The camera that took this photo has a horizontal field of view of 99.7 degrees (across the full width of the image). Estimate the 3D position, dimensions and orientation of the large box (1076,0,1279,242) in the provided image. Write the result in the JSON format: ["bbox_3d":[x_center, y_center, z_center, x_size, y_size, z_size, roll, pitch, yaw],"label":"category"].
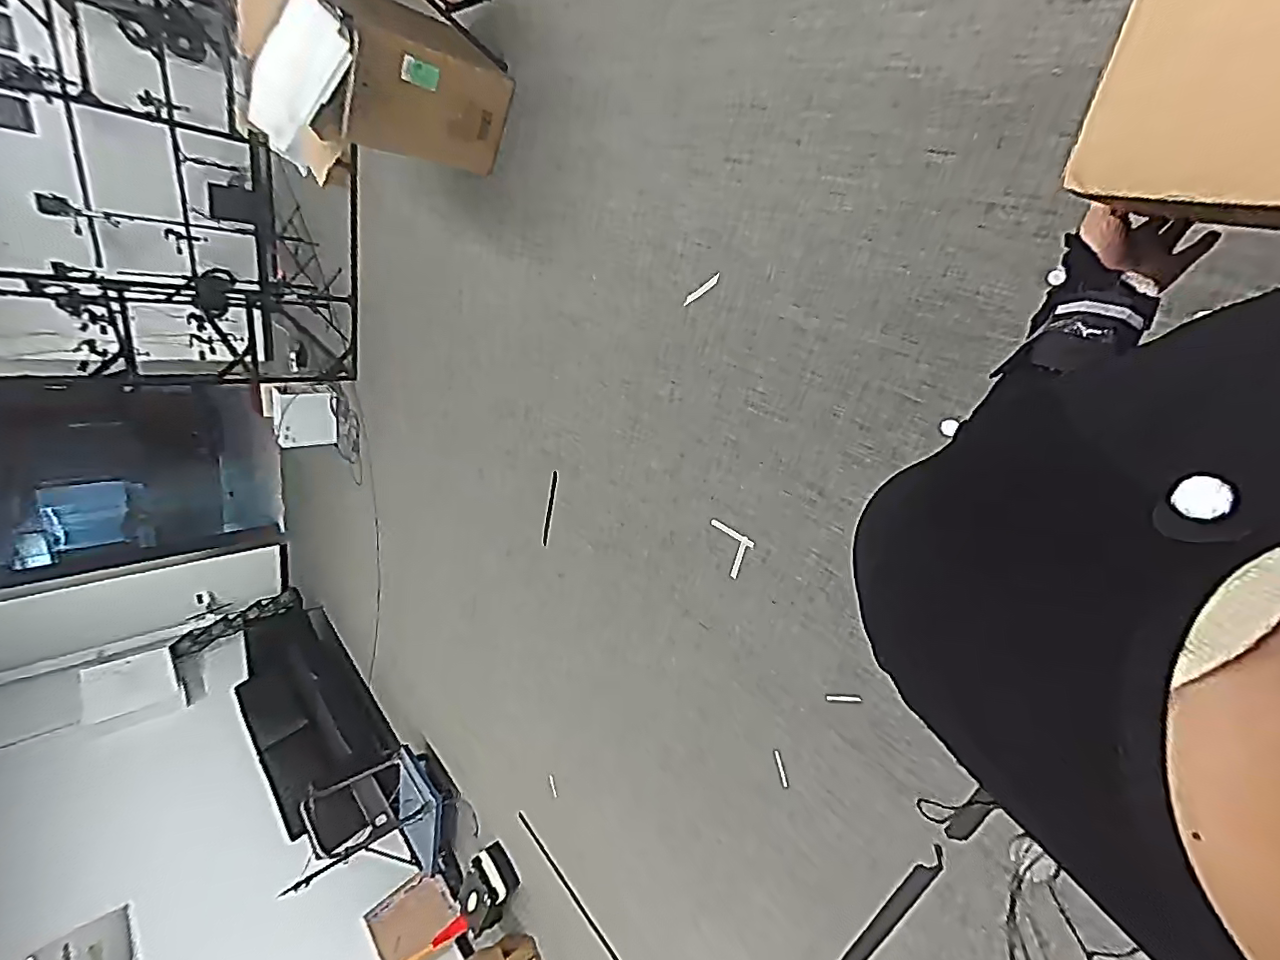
[{"bbox_3d":[0.507,-0.260,0.224,0.408,0.320,0.320,30,127,38],"label":"large box"}]
